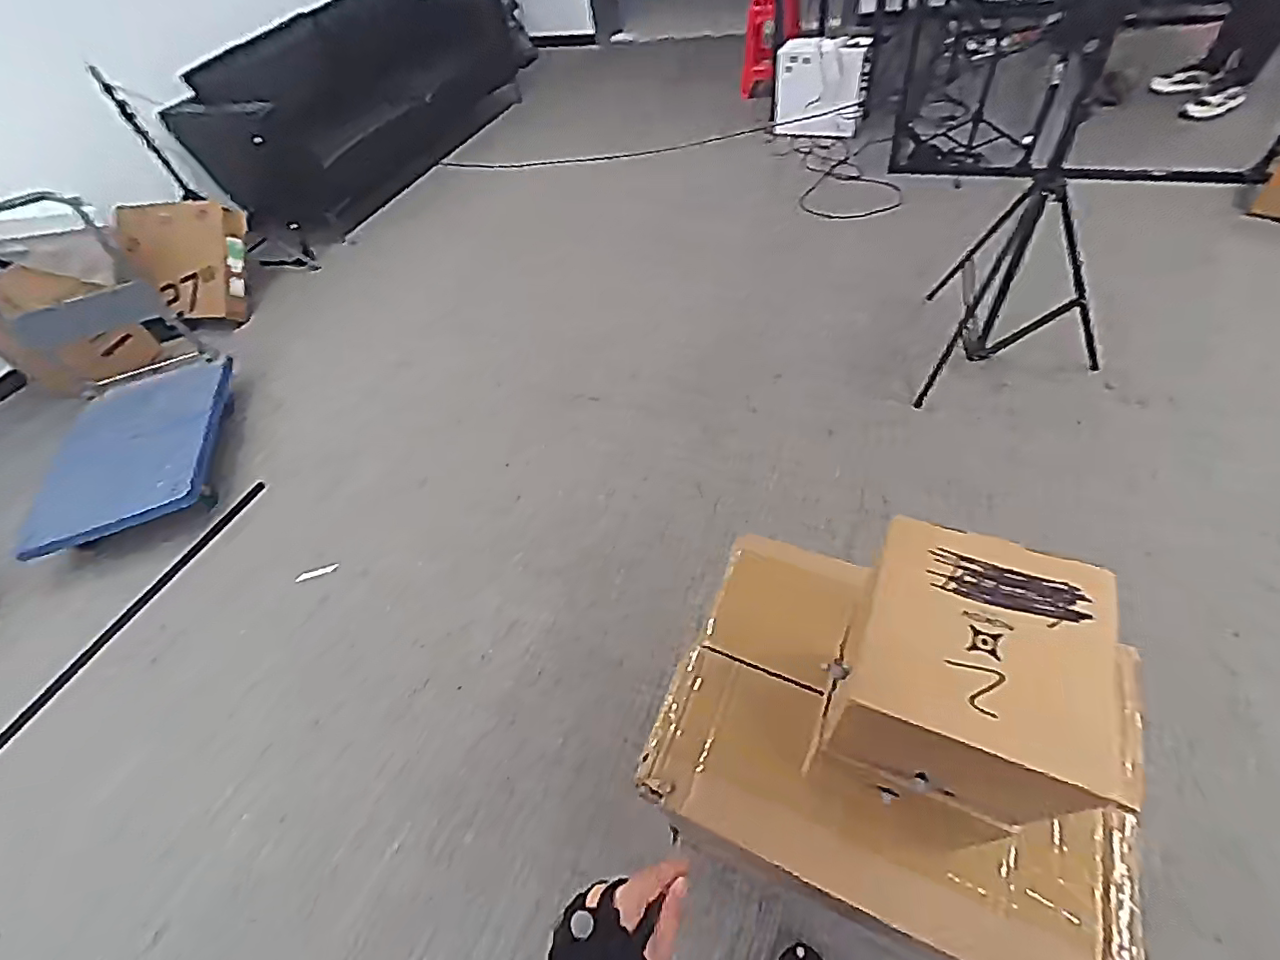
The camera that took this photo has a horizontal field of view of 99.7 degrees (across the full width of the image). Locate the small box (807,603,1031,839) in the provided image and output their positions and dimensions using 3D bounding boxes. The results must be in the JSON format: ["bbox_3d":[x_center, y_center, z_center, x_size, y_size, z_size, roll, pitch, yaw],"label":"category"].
[{"bbox_3d":[0.294,0.269,0.597,0.179,0.176,0.168,16,58,22],"label":"small box"}]
